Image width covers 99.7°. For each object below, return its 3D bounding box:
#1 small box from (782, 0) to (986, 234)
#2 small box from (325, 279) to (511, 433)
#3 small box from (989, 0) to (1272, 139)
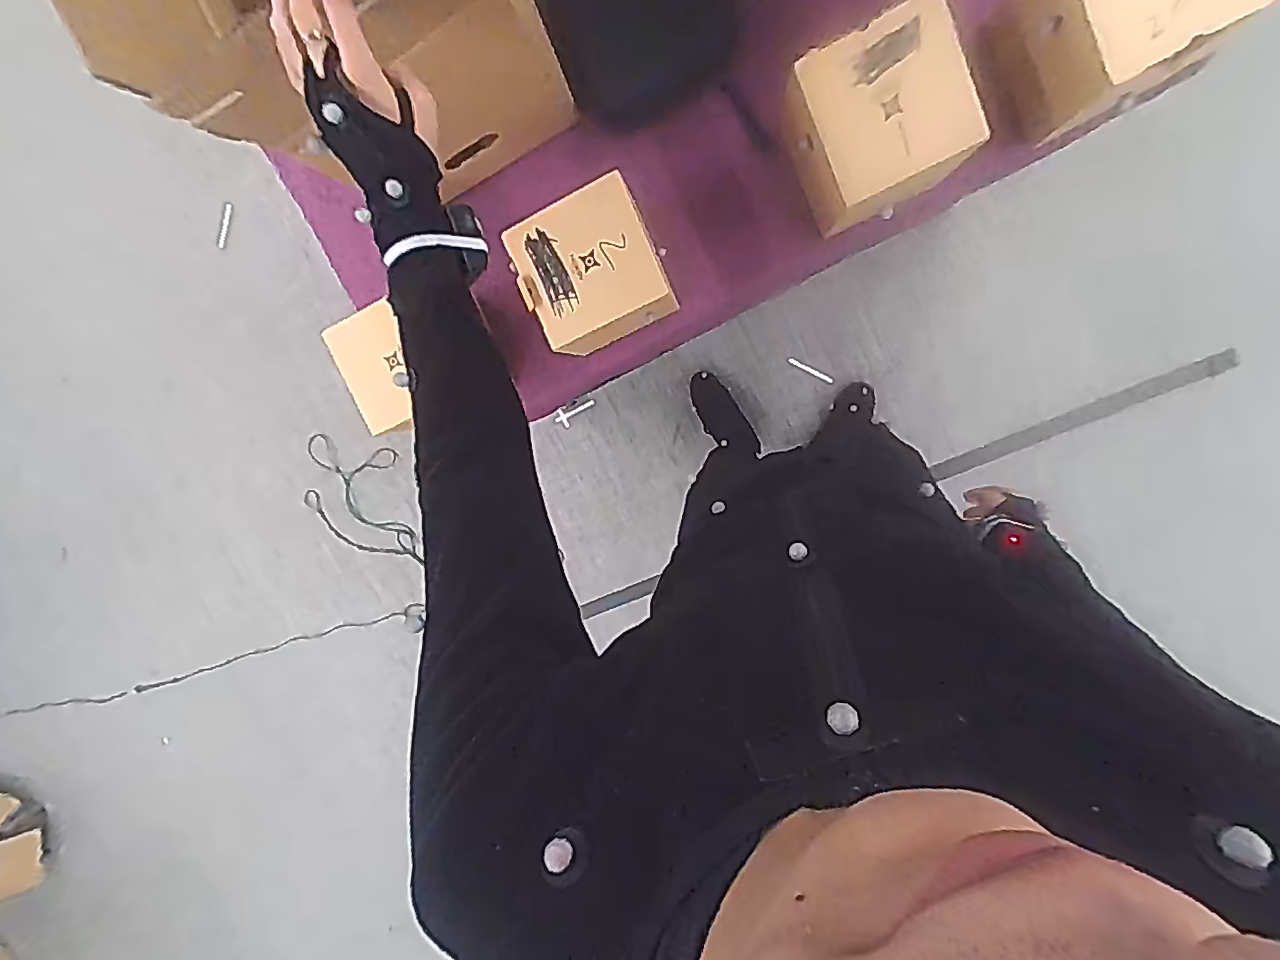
[{"bbox_3d":[0.292,-0.447,0.687,0.168,0.176,0.179,-23,97,14],"label":"small box"},{"bbox_3d":[-0.332,-0.185,0.842,0.179,0.176,0.168,-22,97,11],"label":"small box"},{"bbox_3d":[0.546,-0.545,0.624,0.168,0.176,0.179,-24,96,14],"label":"small box"}]
